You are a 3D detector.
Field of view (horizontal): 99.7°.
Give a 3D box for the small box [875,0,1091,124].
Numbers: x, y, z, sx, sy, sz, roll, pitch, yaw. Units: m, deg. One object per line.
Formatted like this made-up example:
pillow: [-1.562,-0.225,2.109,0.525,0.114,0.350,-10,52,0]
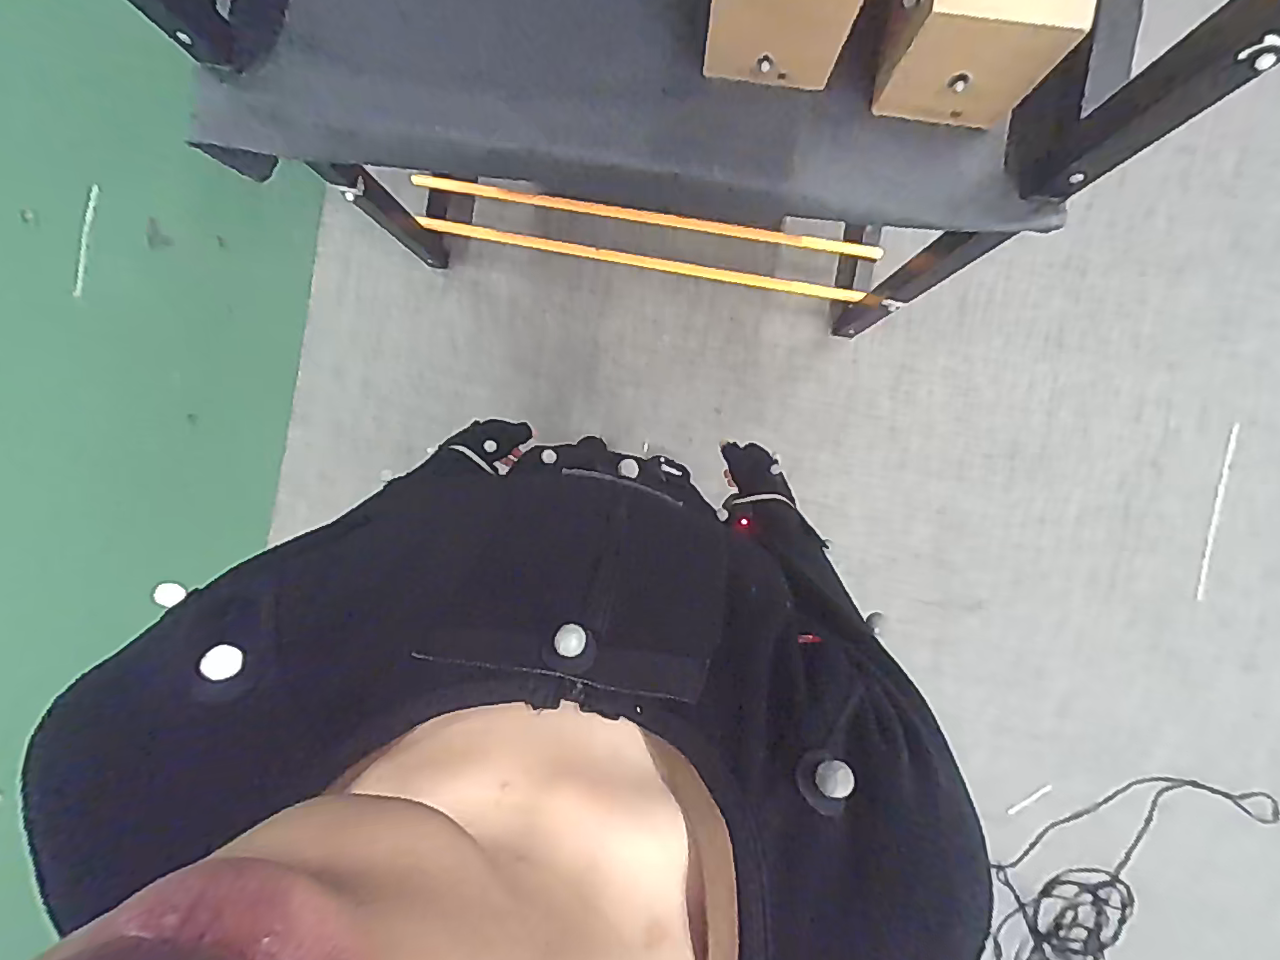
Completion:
small box: [0.399,-0.565,0.644,0.168,0.176,0.179,8,91,2]
